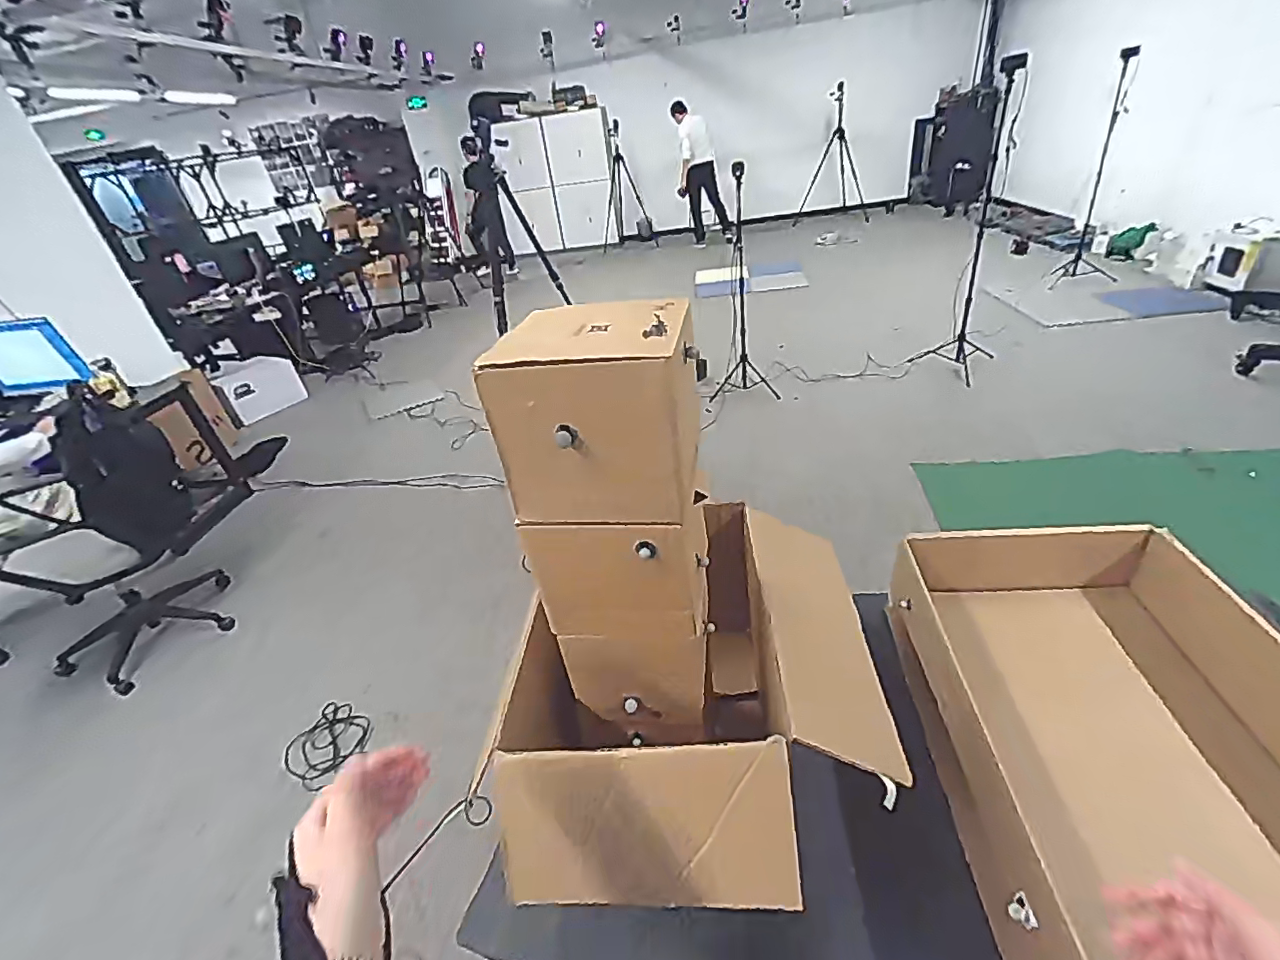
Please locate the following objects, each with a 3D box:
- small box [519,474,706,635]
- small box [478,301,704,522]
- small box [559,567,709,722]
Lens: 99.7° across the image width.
[{"bbox_3d":[-0.018,0.066,0.644,0.179,0.176,0.168,-1,34,11],"label":"small box"},{"bbox_3d":[-0.032,-0.069,0.552,0.179,0.176,0.168,-1,34,12],"label":"small box"},{"bbox_3d":[0.004,0.198,0.735,0.168,0.176,0.179,-1,36,11],"label":"small box"}]
